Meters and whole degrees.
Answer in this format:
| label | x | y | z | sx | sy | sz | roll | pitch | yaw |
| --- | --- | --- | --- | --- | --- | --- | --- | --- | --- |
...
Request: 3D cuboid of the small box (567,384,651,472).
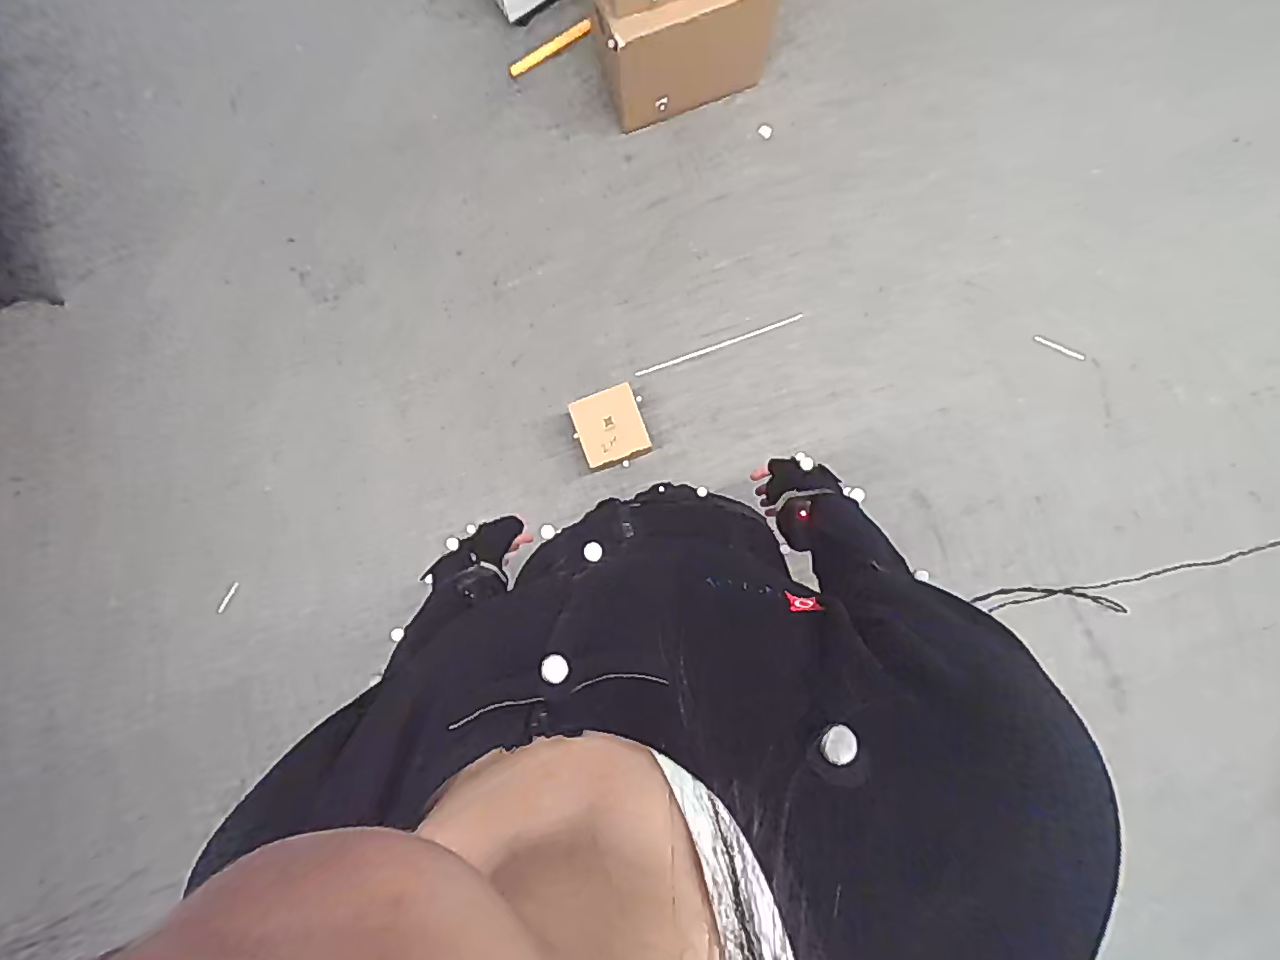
| label | x | y | z | sx | sy | sz | roll | pitch | yaw |
| --- | --- | --- | --- | --- | --- | --- | --- | --- | --- |
| small box | -0.077 | -0.129 | 1.415 | 0.168 | 0.176 | 0.179 | -21 | 88 | 2 |
